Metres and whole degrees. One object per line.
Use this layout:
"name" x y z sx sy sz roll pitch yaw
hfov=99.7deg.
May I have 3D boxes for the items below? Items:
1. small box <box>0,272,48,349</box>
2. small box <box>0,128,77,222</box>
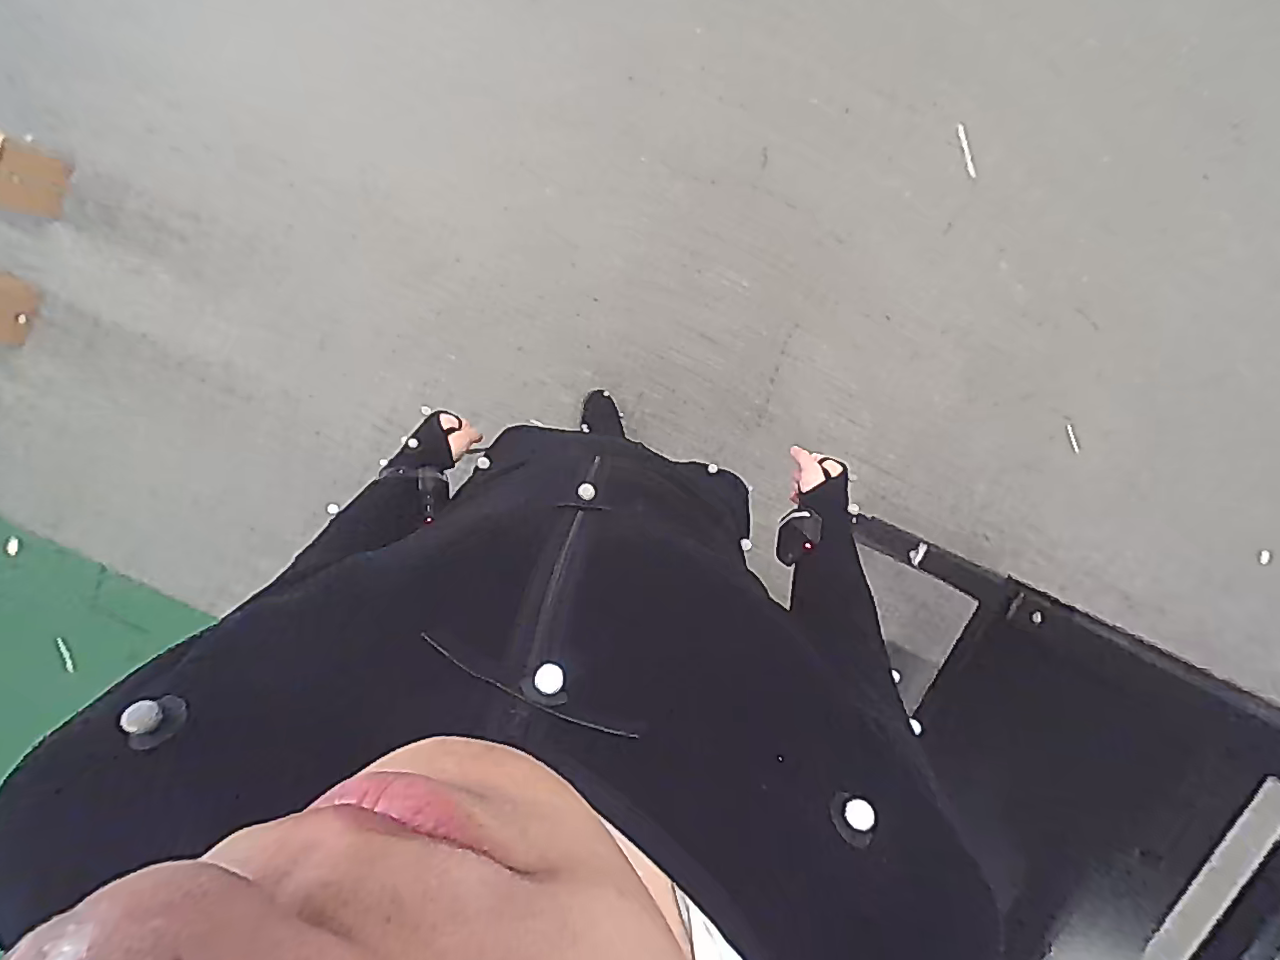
"small box" -1.819 -0.483 1.492 0.168 0.176 0.179 30 97 -3
"small box" -1.679 -0.826 1.442 0.168 0.176 0.179 28 96 -3
